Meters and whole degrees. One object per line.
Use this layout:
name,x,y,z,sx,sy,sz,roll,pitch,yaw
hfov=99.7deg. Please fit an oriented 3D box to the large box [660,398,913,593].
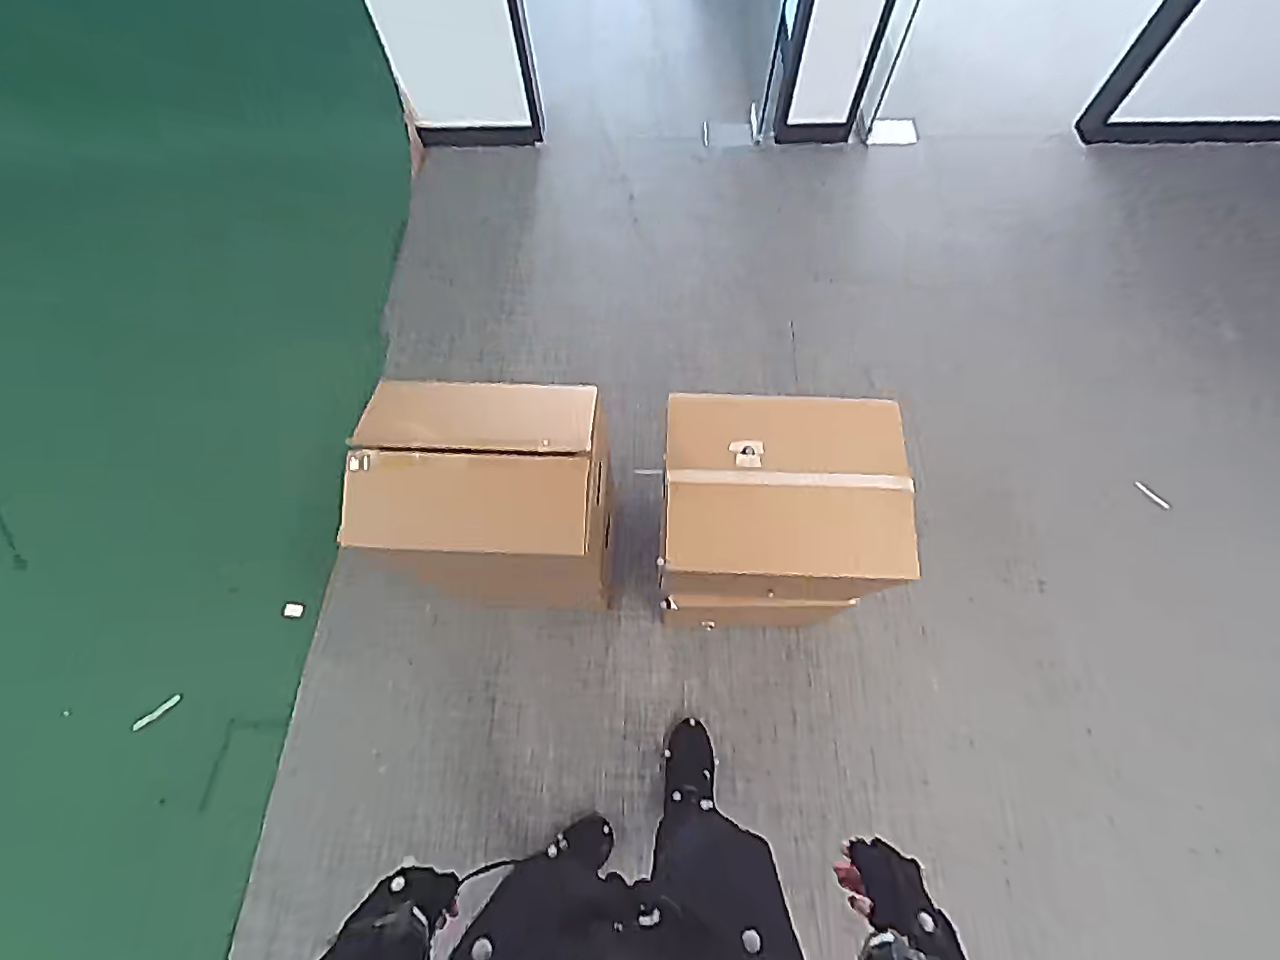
large box,0.243,0.047,1.041,0.408,0.320,0.320,1,71,3
